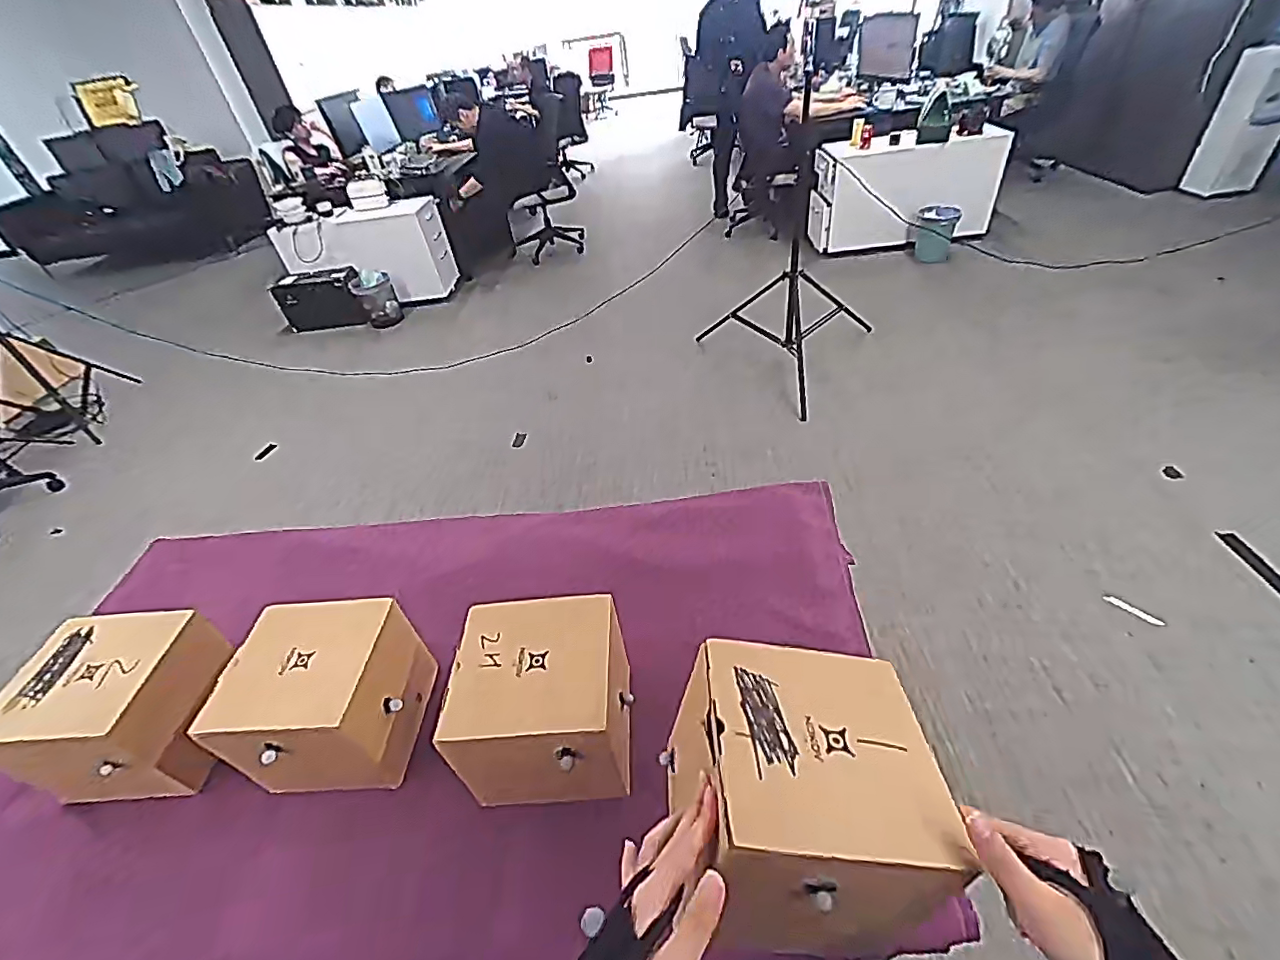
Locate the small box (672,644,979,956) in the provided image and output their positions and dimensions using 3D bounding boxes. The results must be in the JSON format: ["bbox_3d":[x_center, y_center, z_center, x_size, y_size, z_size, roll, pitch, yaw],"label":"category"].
[{"bbox_3d":[0.124,0.264,0.452,0.179,0.176,0.168,8,33,-5],"label":"small box"}]

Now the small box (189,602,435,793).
[{"bbox_3d":[-0.384,0.274,0.678,0.179,0.176,0.168,-5,41,5],"label":"small box"}]

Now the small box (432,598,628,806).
[{"bbox_3d":[-0.109,0.260,0.634,0.179,0.176,0.168,-6,39,4],"label":"small box"}]
